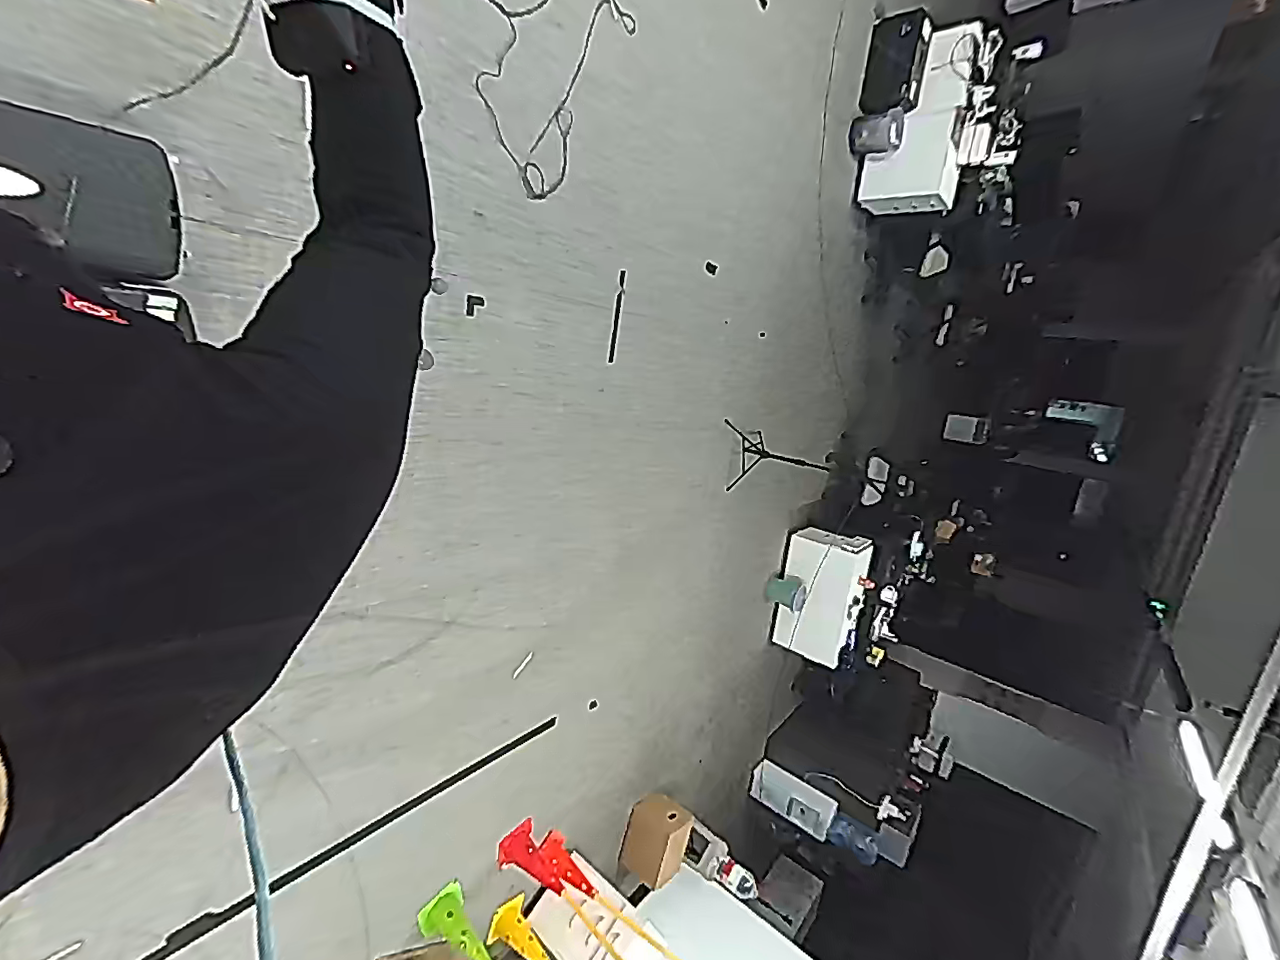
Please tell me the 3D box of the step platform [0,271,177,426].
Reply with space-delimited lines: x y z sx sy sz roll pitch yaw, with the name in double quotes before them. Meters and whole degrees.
"step platform" -1.270 -0.241 0.959 0.684 0.204 0.286 -11 111 -49
